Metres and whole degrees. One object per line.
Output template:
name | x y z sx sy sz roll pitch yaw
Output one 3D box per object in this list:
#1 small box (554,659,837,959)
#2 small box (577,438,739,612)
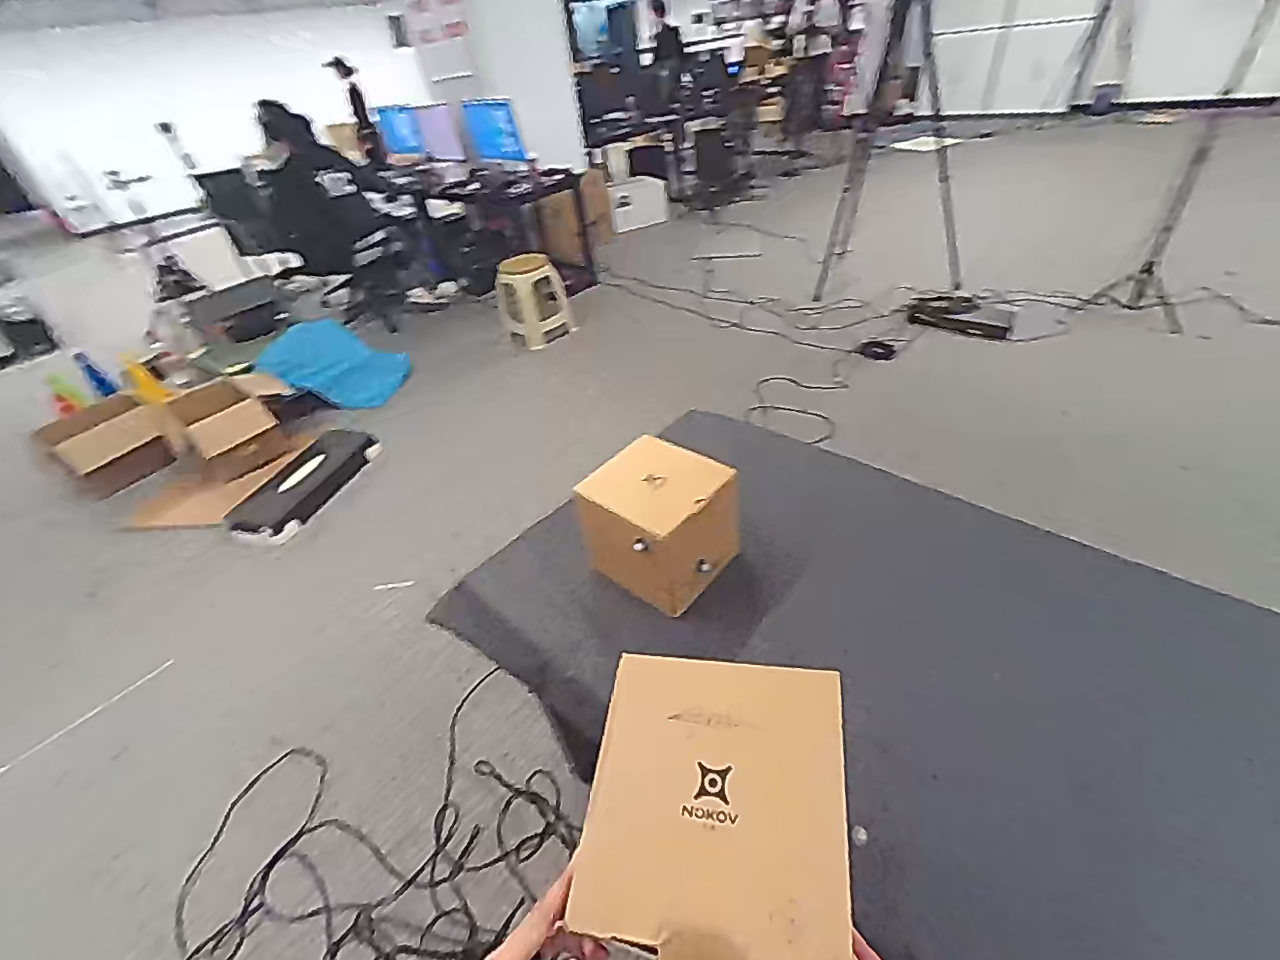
small box | 0.057 0.257 0.409 0.168 0.176 0.179 -1 48 15
small box | 0.031 0.067 0.817 0.179 0.176 0.168 25 49 34
